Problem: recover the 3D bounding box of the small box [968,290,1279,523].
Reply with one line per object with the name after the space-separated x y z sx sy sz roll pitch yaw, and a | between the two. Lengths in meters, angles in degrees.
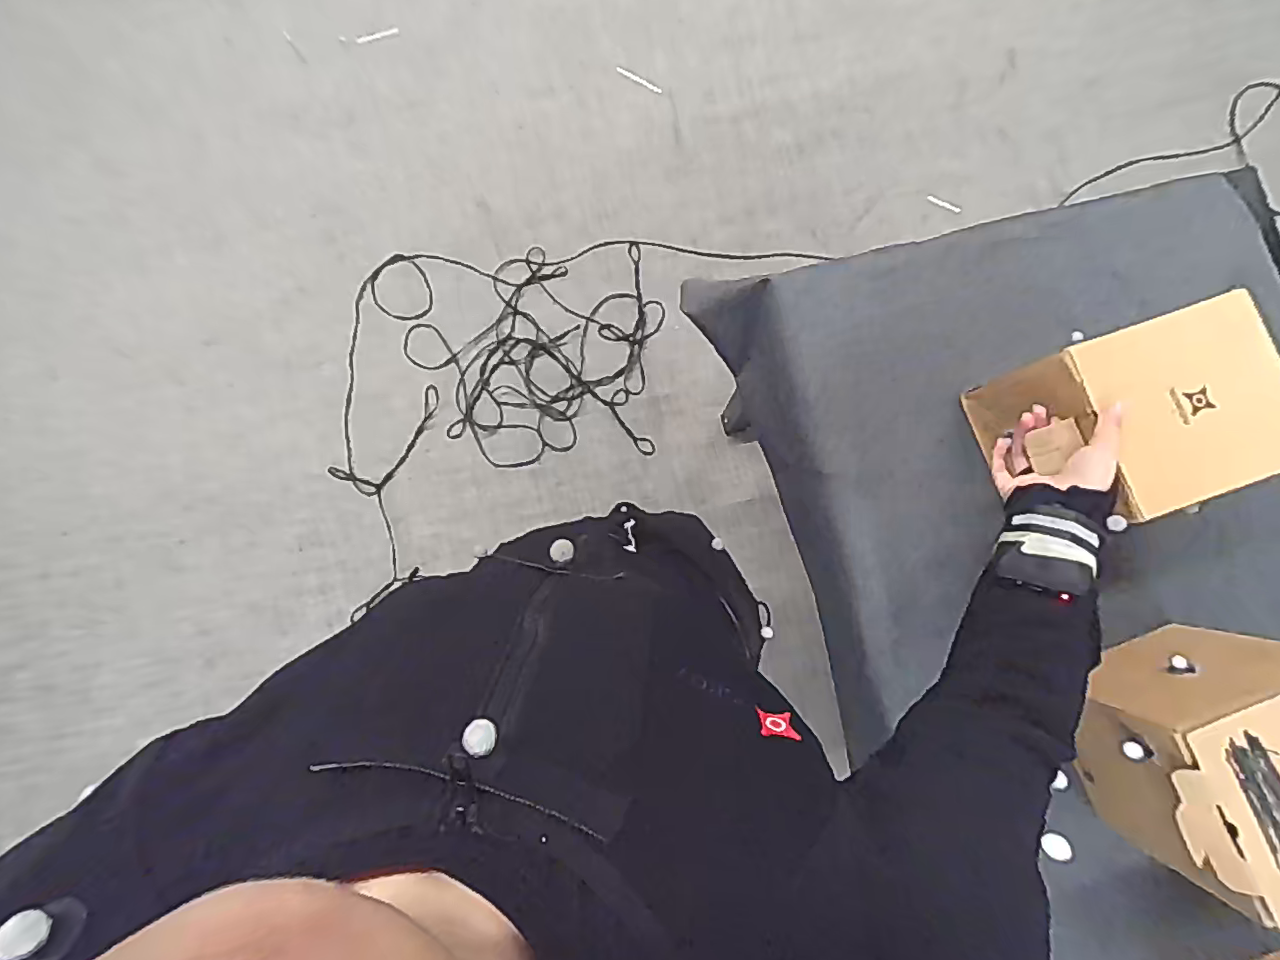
0.487 -0.061 0.551 0.179 0.176 0.168 -19 85 -1 | small box
